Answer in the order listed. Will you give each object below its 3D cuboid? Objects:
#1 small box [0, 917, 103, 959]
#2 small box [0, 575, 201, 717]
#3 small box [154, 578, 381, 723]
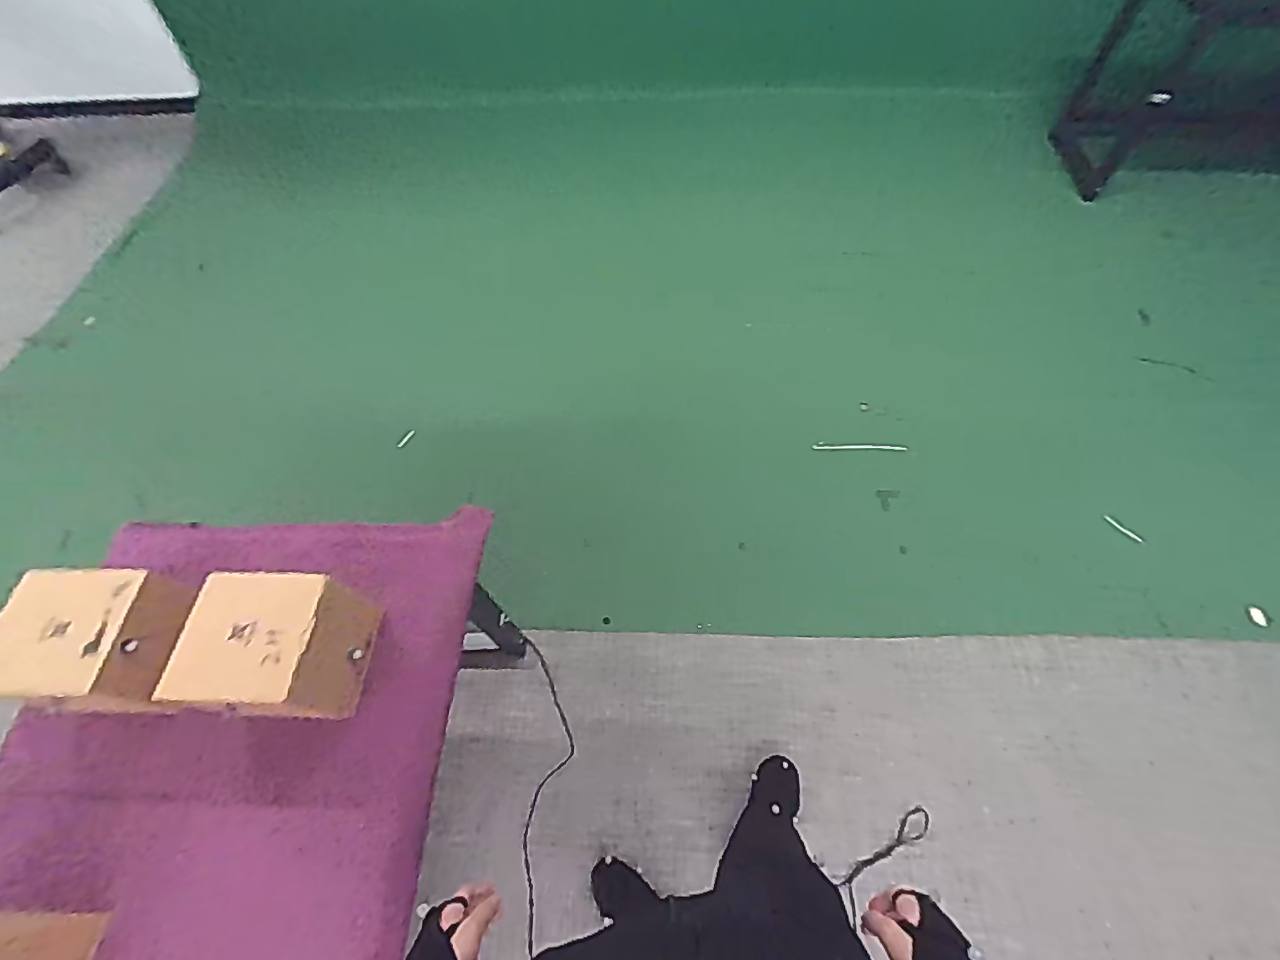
[{"bbox_3d":[-0.767,0.592,0.582,0.179,0.176,0.168,1,59,2],"label":"small box"},{"bbox_3d":[-0.773,0.247,0.790,0.179,0.176,0.168,0,59,2],"label":"small box"},{"bbox_3d":[-0.511,0.249,0.775,0.179,0.176,0.168,1,60,4],"label":"small box"}]
